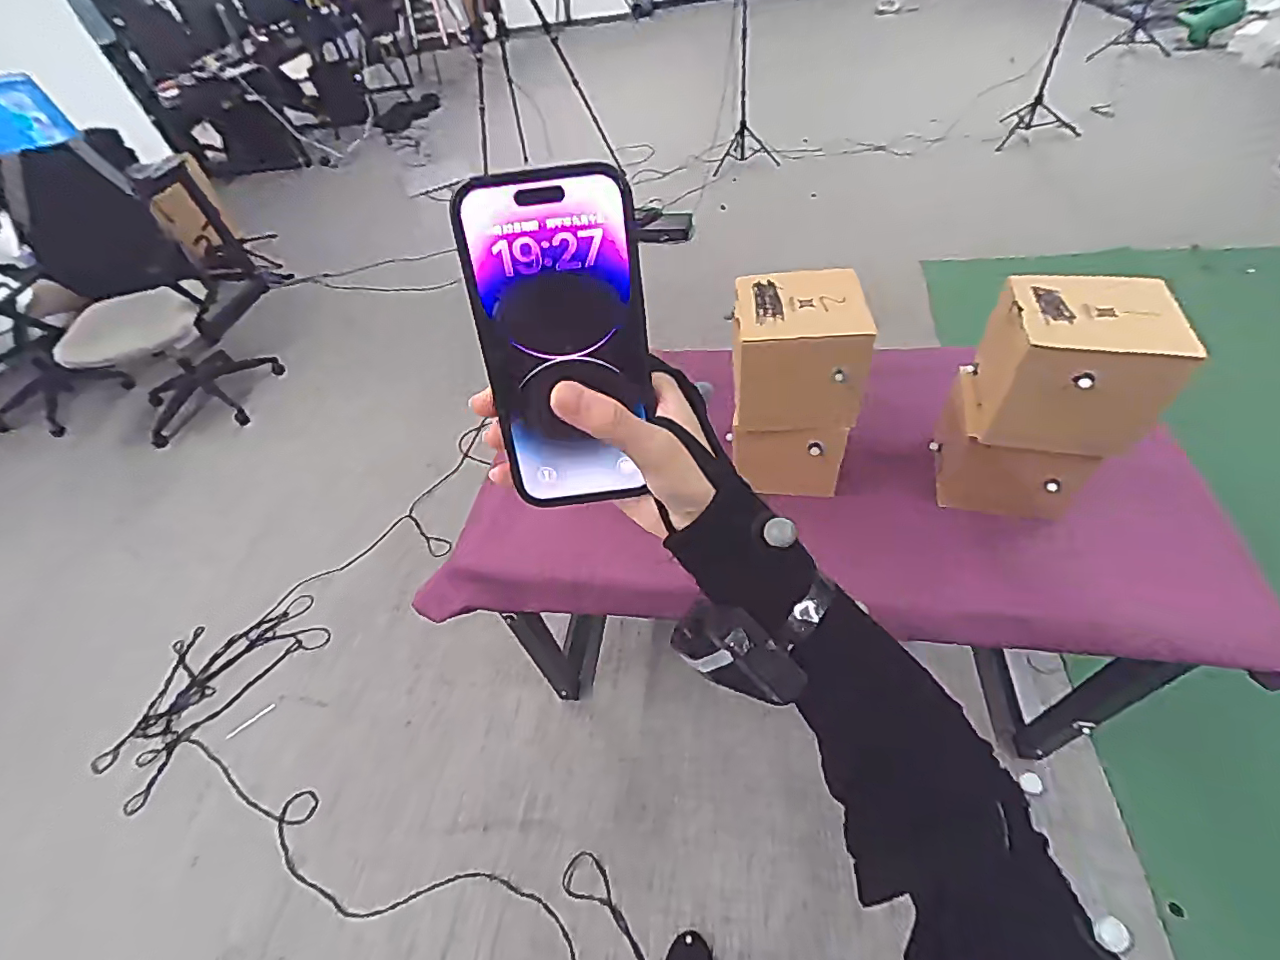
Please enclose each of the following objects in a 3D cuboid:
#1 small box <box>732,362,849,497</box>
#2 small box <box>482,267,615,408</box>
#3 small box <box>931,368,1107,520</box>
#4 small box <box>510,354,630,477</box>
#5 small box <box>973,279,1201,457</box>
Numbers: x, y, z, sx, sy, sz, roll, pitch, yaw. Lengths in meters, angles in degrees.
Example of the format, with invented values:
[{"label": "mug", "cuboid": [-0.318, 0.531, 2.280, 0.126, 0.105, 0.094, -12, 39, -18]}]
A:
[{"label": "small box", "cuboid": [0.254, -0.086, 0.939, 0.179, 0.176, 0.168, 3, 50, 13]}, {"label": "small box", "cuboid": [-0.142, -0.236, 0.919, 0.168, 0.176, 0.179, 0, 50, 9]}, {"label": "small box", "cuboid": [0.583, -0.055, 0.859, 0.179, 0.176, 0.168, 8, 51, 17]}, {"label": "small box", "cuboid": [-0.123, -0.123, 1.037, 0.168, 0.176, 0.179, 4, 50, 13]}, {"label": "small box", "cuboid": [0.569, -0.149, 0.725, 0.179, 0.176, 0.168, 8, 51, 16]}]
